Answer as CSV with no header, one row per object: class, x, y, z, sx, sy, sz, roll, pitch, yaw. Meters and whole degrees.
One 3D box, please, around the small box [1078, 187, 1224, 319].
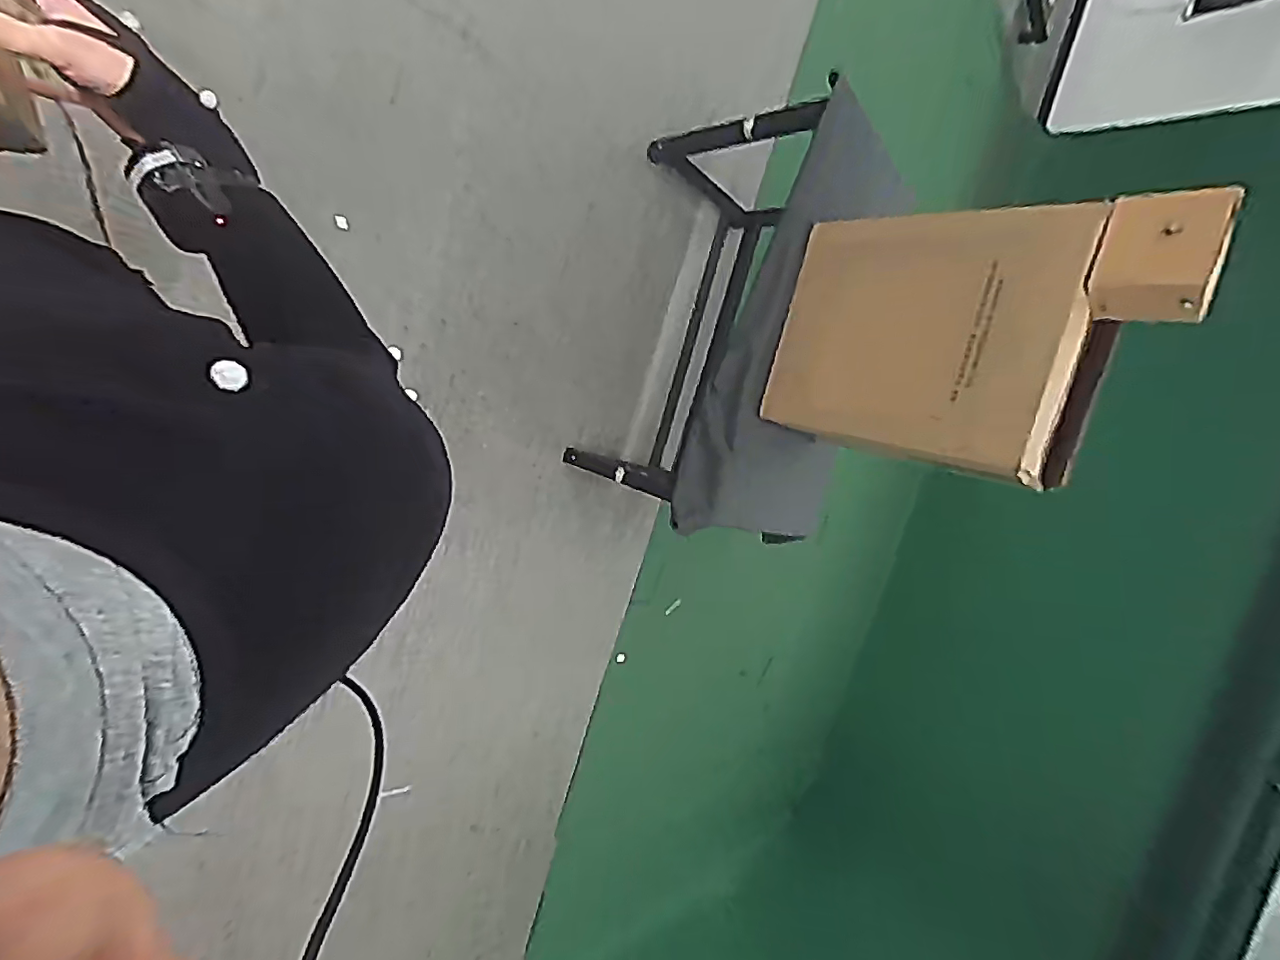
small box,0.974,-0.427,1.043,0.168,0.176,0.179,15,92,-46
